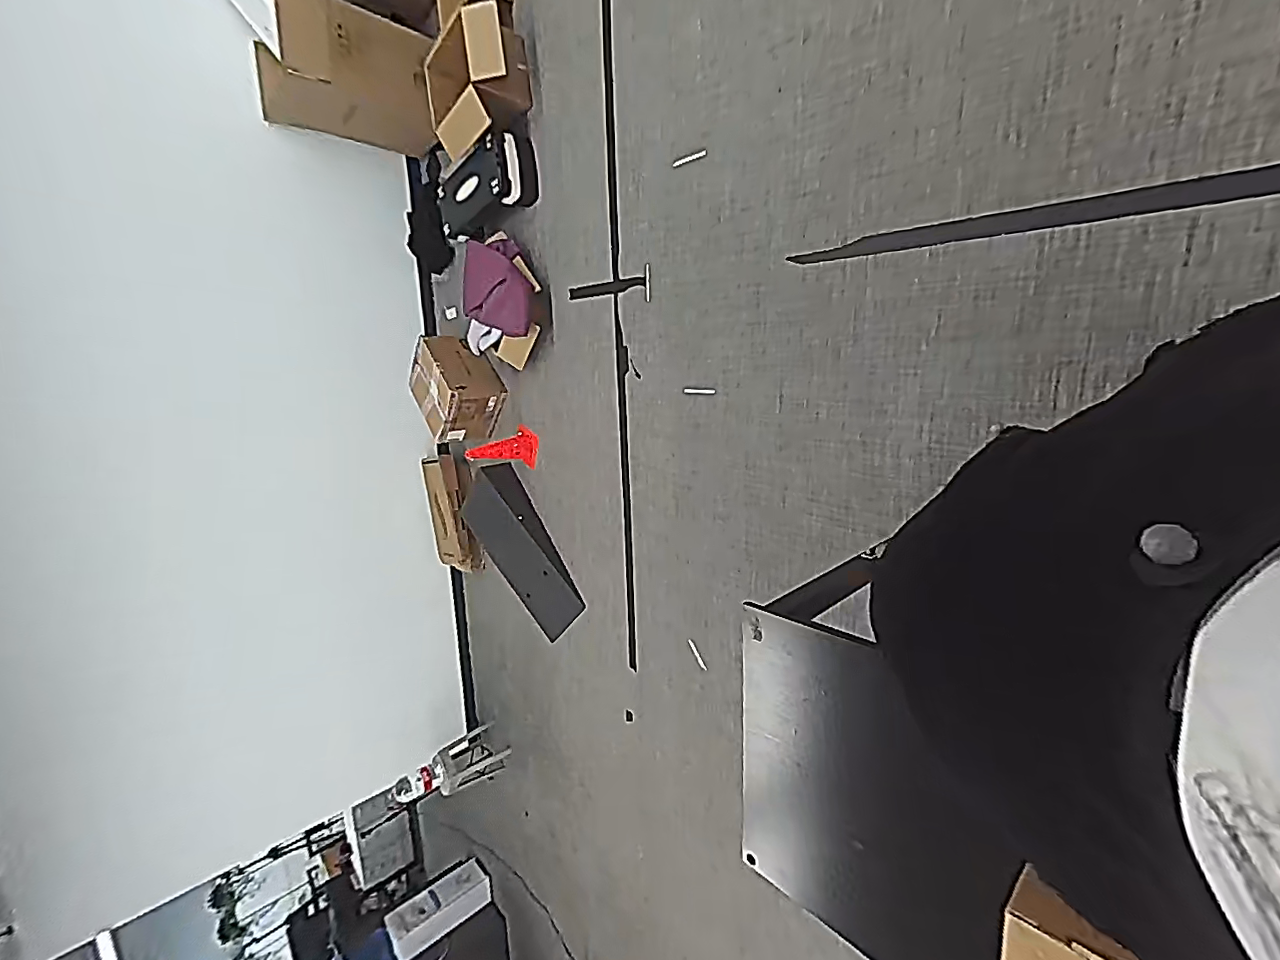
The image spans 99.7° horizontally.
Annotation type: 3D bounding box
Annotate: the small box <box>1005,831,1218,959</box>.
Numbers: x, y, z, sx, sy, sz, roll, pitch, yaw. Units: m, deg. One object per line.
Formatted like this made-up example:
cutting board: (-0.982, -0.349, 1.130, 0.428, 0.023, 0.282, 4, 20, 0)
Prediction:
small box: (0.539, 0.562, 0.626, 0.168, 0.176, 0.179, 9, 106, 47)
